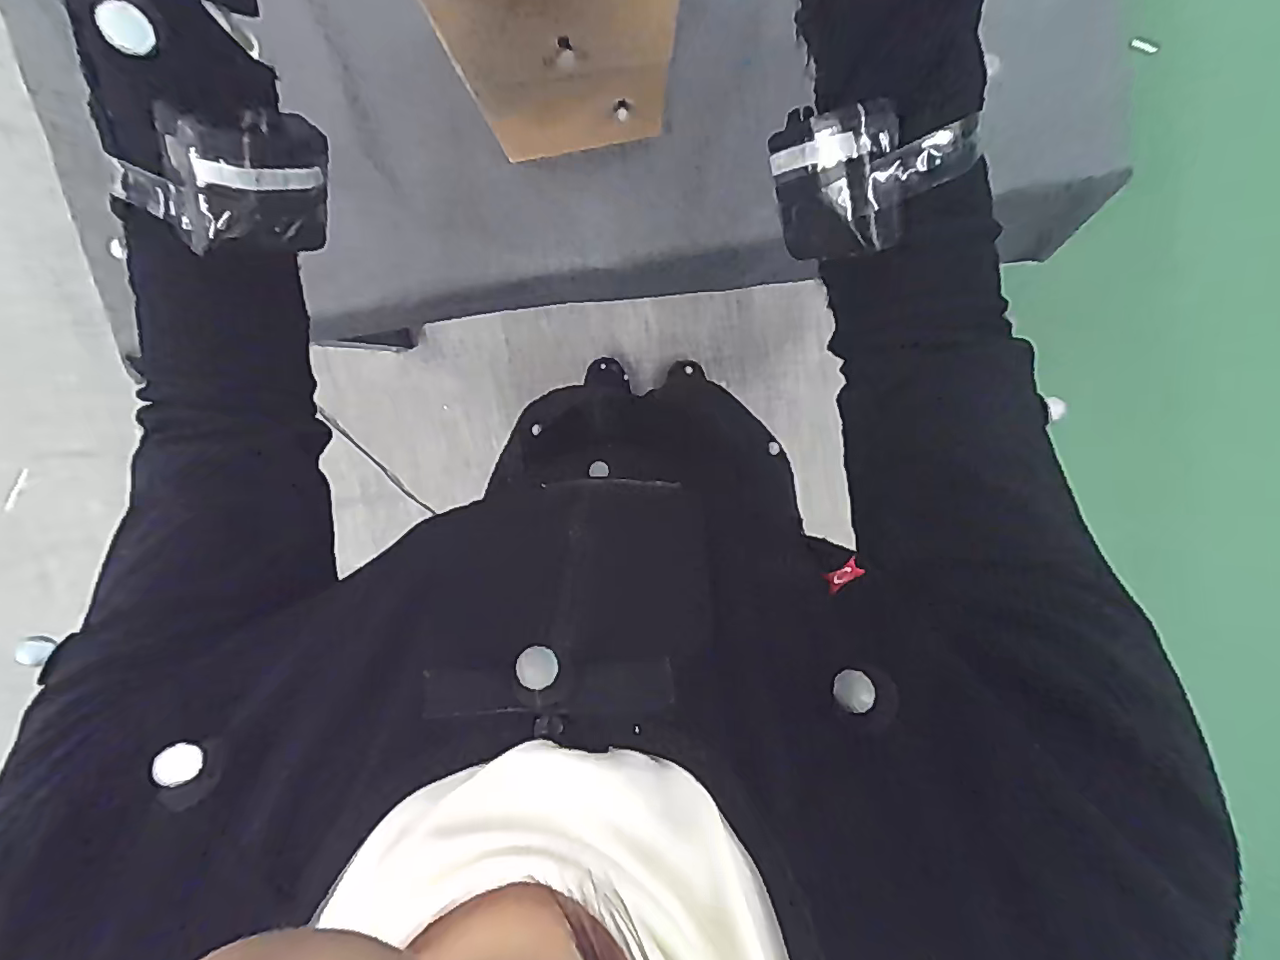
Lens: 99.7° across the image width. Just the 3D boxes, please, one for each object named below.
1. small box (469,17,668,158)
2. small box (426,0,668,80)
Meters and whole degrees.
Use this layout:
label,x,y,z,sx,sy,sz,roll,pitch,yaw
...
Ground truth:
label,x,y,z,sx,sy,sz,roll,pitch,yaw
small box,-0.075,-0.446,0.527,0.179,0.176,0.168,-11,100,3
small box,-0.070,-0.413,0.367,0.179,0.176,0.168,-9,100,0
